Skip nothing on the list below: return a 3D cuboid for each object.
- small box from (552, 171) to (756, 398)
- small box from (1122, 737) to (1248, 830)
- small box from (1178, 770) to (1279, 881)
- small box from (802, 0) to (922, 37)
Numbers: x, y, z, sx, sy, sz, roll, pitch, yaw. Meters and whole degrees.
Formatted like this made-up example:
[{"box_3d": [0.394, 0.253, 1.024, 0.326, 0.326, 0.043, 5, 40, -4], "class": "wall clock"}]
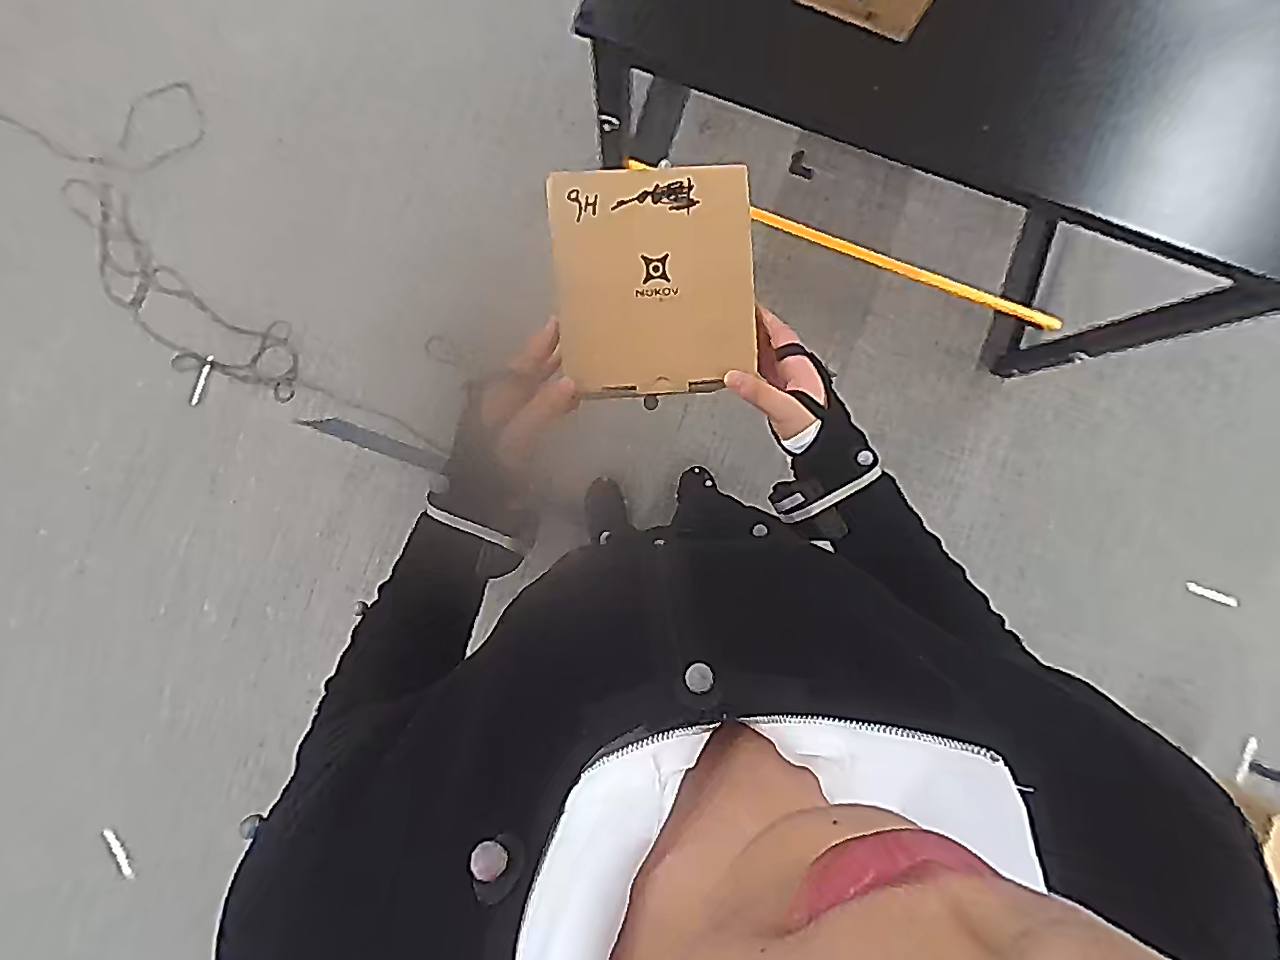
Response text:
[{"box_3d": [0.009, -0.172, 0.525, 0.168, 0.176, 0.179, -4, 98, -5], "class": "small box"}, {"box_3d": [1.487, 0.843, 1.479, 0.168, 0.176, 0.179, 22, 92, -1], "class": "small box"}, {"box_3d": [1.494, 0.843, 1.317, 0.179, 0.176, 0.168, 17, 90, 0], "class": "small box"}, {"box_3d": [0.320, -0.729, 0.681, 0.168, 0.176, 0.179, 20, 91, -2], "class": "small box"}]
